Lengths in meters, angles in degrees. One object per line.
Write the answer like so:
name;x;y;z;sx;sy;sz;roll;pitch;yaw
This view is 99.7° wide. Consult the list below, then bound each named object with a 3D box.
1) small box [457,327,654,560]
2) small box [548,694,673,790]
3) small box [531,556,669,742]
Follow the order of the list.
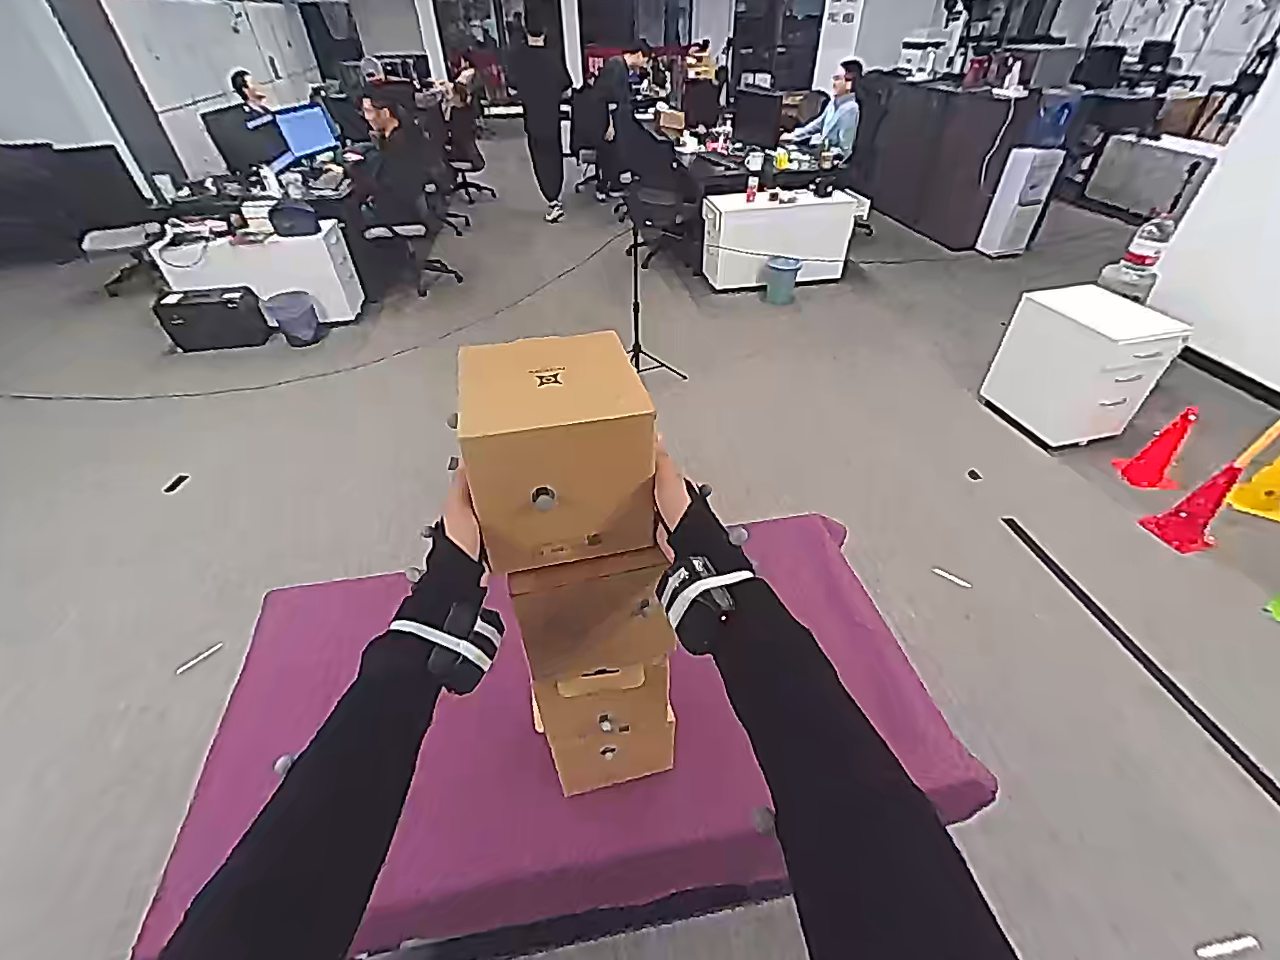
small box;-0.082;-0.036;0.551;0.168;0.176;0.179;-9;38;-11
small box;-0.052;0.358;0.852;0.179;0.176;0.168;-9;41;-10
small box;-0.056;0.231;0.748;0.168;0.176;0.179;-6;41;-5
